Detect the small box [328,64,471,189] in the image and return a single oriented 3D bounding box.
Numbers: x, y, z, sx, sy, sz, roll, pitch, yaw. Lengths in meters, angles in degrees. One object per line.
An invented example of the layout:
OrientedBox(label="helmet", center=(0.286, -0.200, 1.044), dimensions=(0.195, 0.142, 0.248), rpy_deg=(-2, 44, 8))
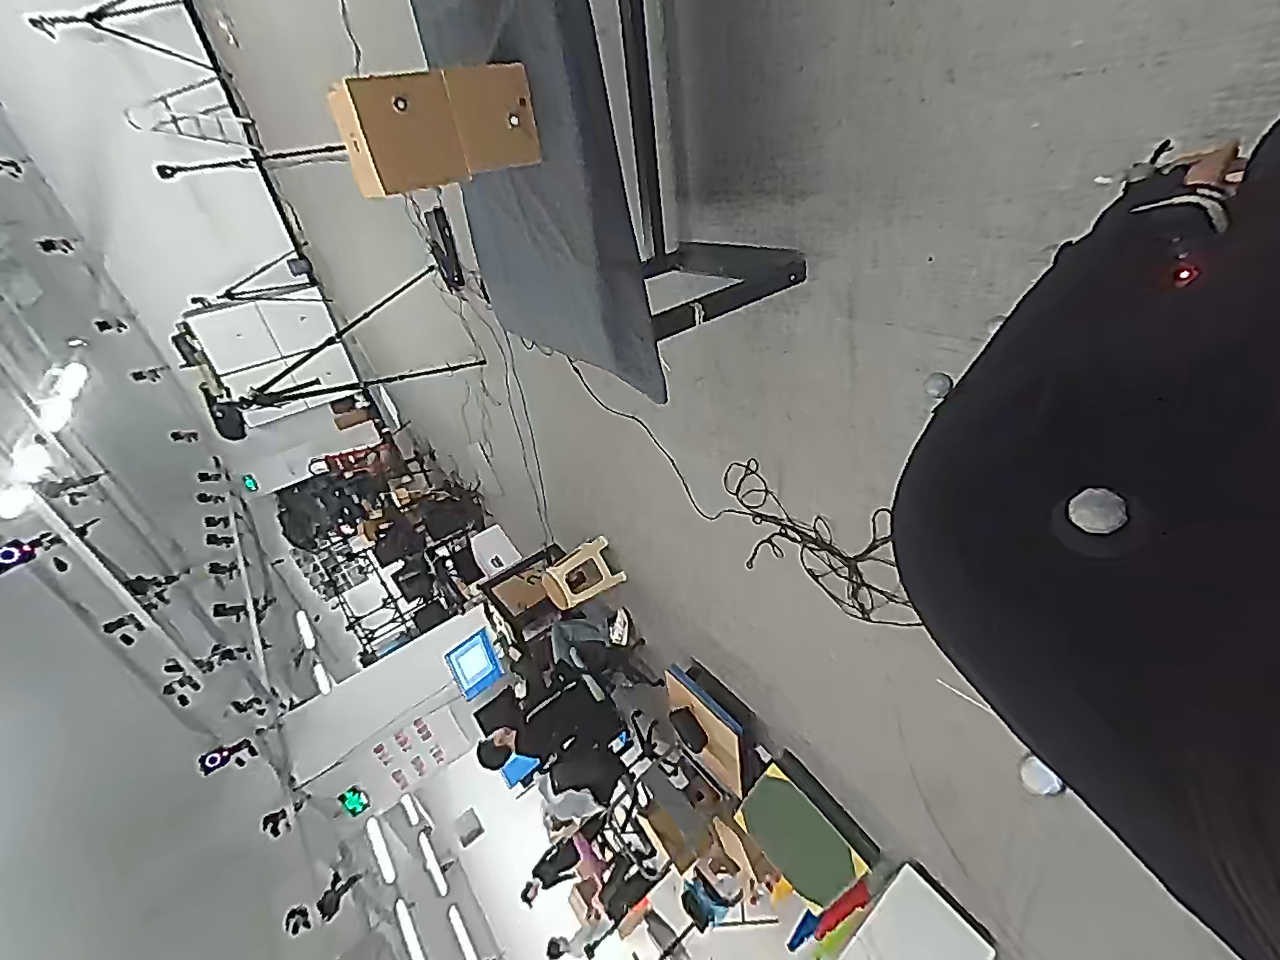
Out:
OrientedBox(label="small box", center=(-0.445, -0.659, 1.014), dimensions=(0.168, 0.176, 0.179), rpy_deg=(31, 142, 46))

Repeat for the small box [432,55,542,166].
OrientedBox(label="small box", center=(-0.321, -0.735, 1.086), dimensions=(0.179, 0.176, 0.168), rpy_deg=(30, 140, 44))
